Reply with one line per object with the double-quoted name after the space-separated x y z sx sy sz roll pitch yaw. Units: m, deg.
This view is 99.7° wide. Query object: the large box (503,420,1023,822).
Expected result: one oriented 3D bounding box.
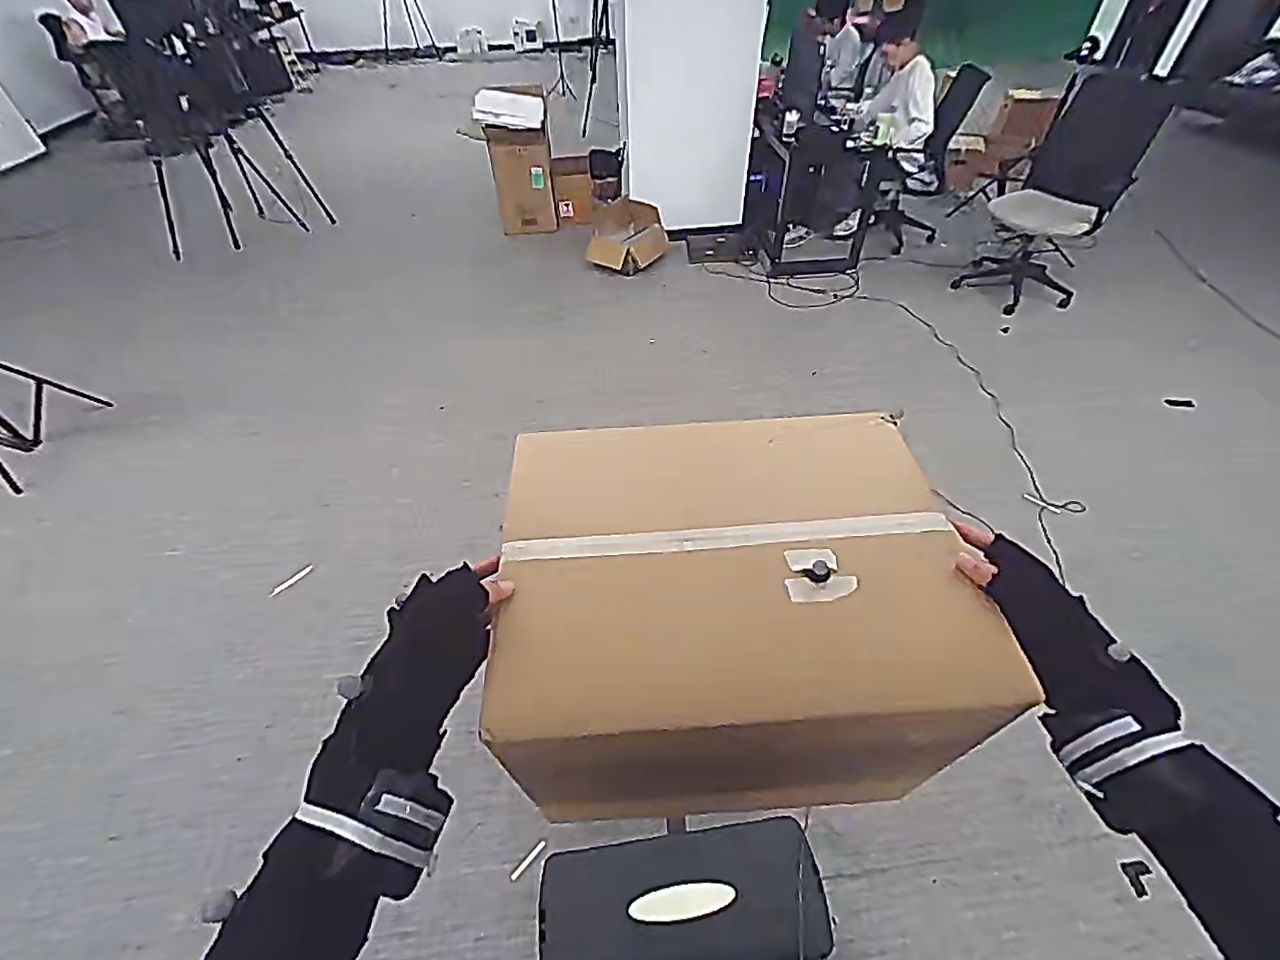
0.085 0.160 0.609 0.408 0.320 0.320 -4 49 -2 "large box"
